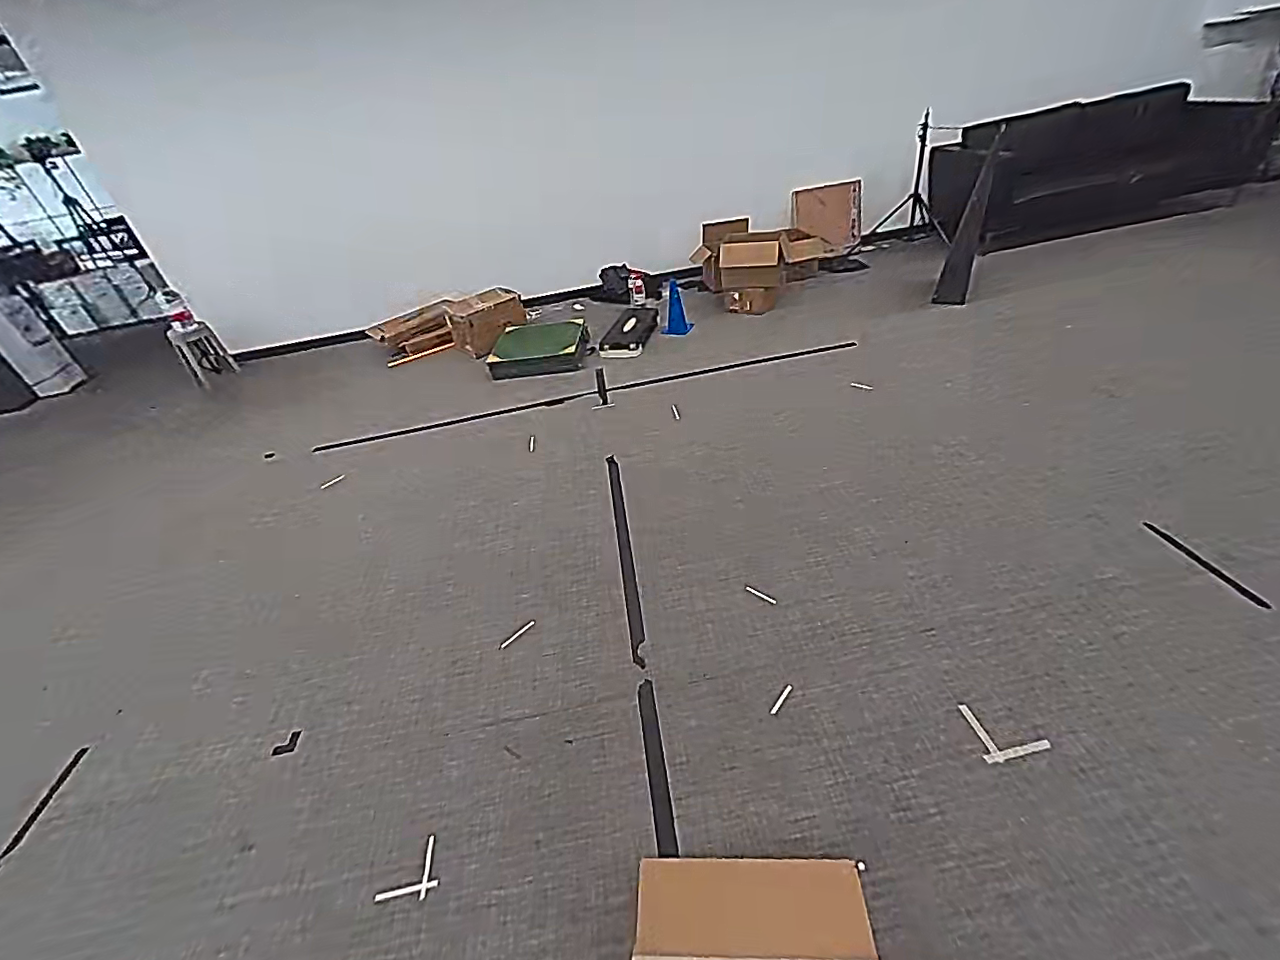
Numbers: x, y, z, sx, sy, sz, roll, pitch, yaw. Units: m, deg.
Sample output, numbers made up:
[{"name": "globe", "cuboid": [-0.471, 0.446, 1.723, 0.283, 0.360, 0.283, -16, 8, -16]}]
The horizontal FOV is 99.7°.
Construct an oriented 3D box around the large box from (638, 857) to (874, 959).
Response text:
[{"name": "large box", "cuboid": [0.209, 0.933, 0.996, 0.408, 0.320, 0.320, -4, 36, 7]}]
